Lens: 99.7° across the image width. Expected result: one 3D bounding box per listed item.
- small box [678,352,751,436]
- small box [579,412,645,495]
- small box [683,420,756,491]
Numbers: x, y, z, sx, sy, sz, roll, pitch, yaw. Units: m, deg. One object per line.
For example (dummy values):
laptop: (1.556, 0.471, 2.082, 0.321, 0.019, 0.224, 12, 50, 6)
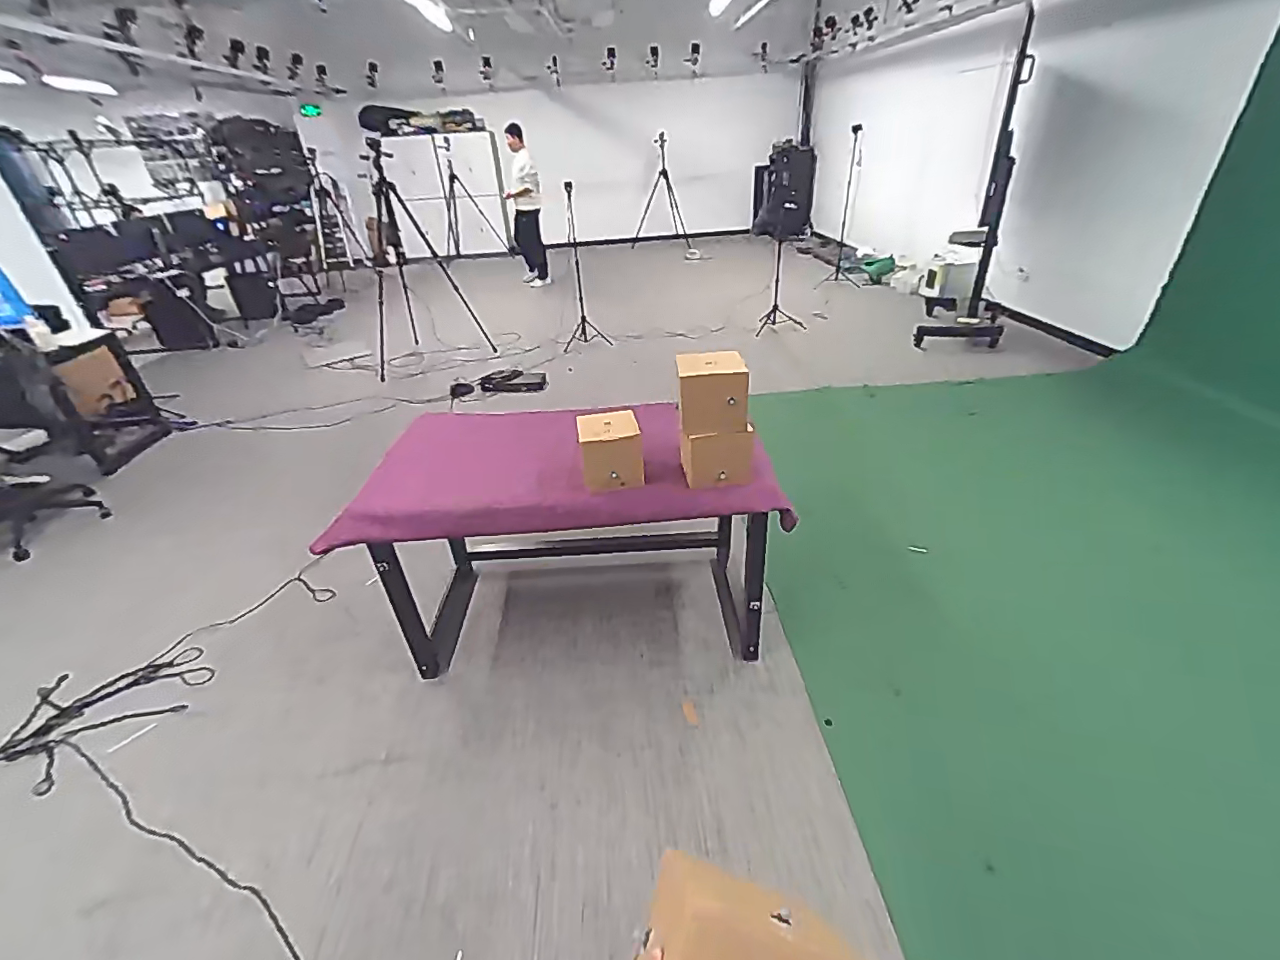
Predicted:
small box: (0.193, -0.228, 1.443, 0.179, 0.176, 0.168, -4, 32, 3)
small box: (-0.081, -0.076, 1.544, 0.168, 0.176, 0.179, -8, 31, -5)
small box: (0.216, -0.086, 1.522, 0.179, 0.176, 0.168, -7, 31, -3)
